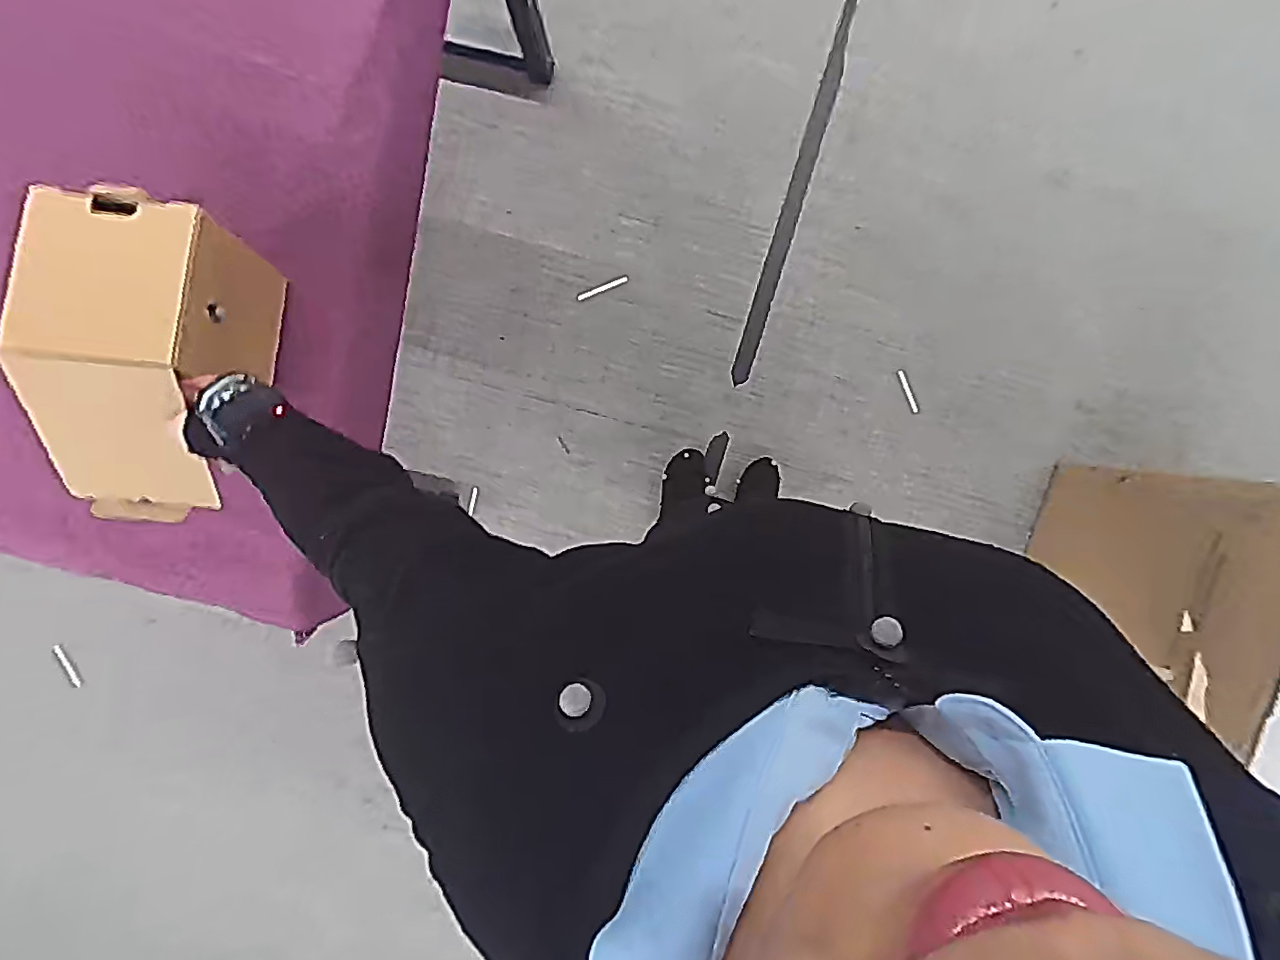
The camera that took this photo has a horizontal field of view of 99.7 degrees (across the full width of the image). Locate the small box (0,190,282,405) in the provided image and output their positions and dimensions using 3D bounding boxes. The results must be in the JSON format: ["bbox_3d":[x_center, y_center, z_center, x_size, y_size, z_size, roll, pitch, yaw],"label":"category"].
[{"bbox_3d":[-0.545,-0.191,0.618,0.168,0.176,0.179,5,84,-5],"label":"small box"}]
